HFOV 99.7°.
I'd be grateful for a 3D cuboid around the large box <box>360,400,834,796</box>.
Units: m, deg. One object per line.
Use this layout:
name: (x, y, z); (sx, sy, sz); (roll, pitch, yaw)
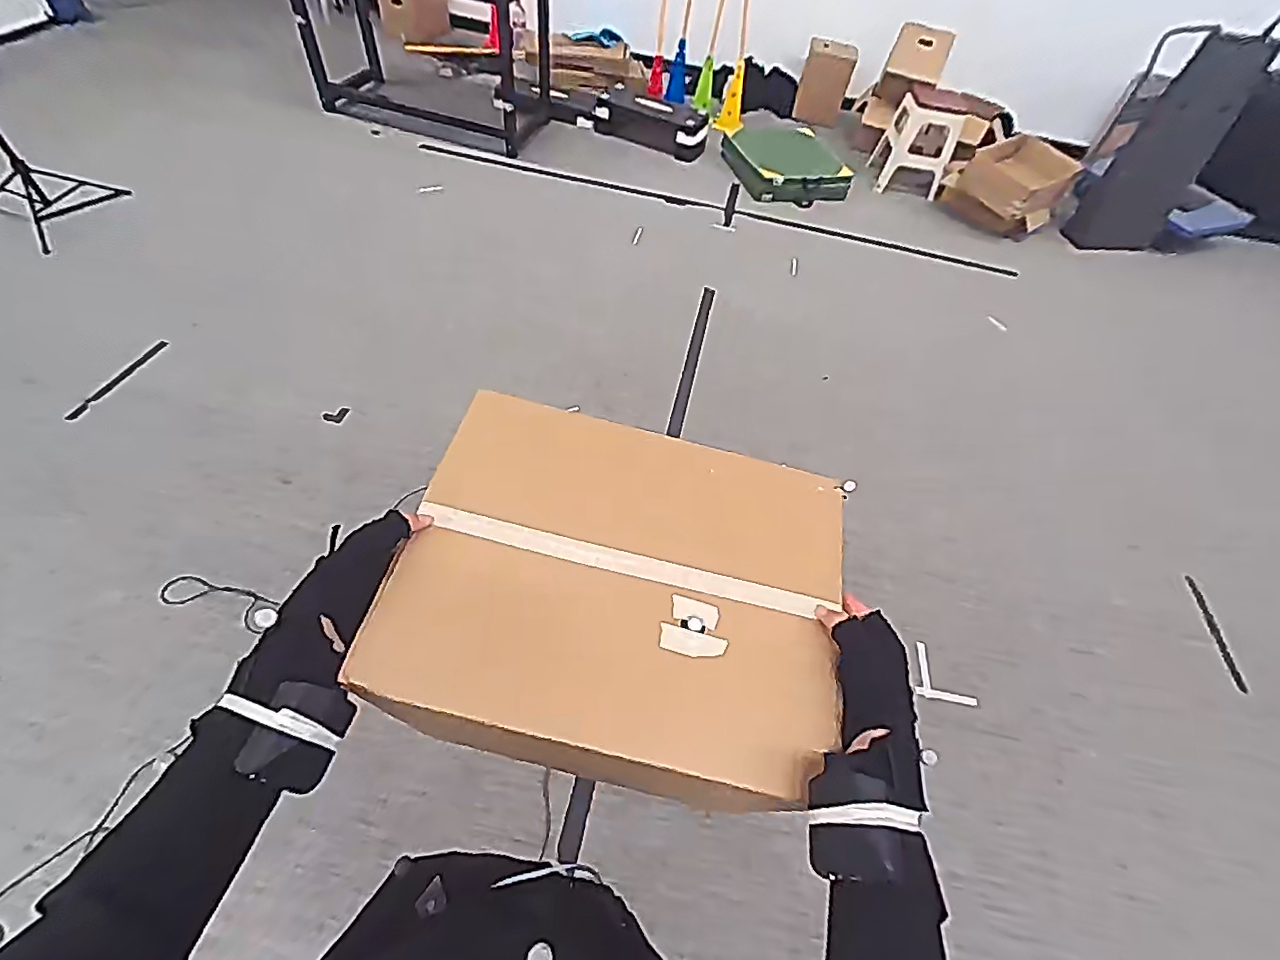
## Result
large box: (-0.030, 0.157, 0.641); (0.408, 0.320, 0.320); (14, 59, -1)
